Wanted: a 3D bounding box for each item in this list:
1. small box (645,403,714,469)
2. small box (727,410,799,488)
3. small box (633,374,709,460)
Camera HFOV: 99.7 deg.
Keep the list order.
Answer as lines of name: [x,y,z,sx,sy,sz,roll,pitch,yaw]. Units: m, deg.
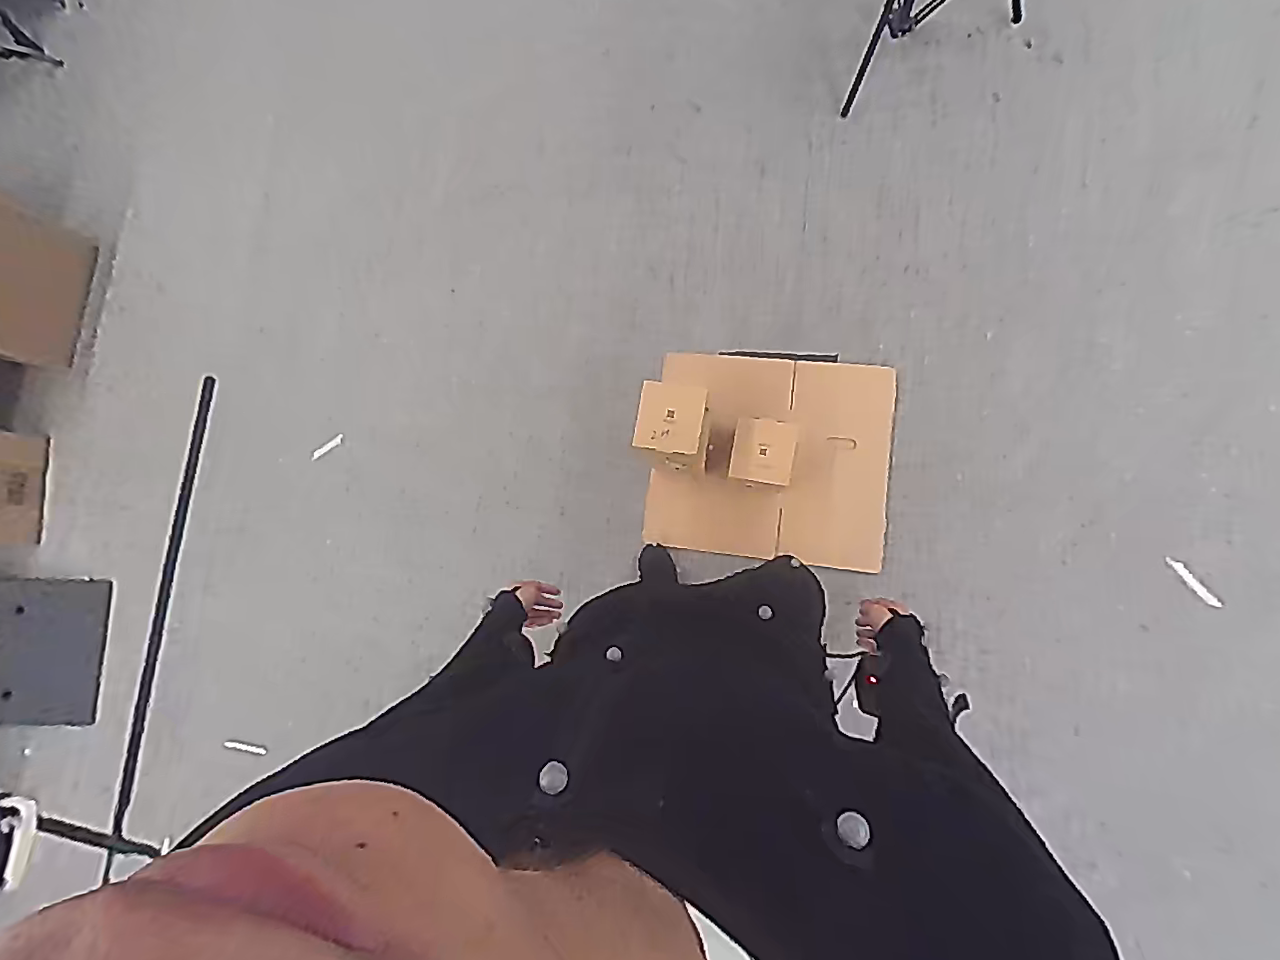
small box: [0.121,-0.132,1.571,0.168,0.176,0.179,9,86,10]
small box: [0.343,-0.083,1.532,0.168,0.176,0.179,10,86,9]
small box: [0.087,-0.159,1.411,0.168,0.176,0.179,9,86,10]
